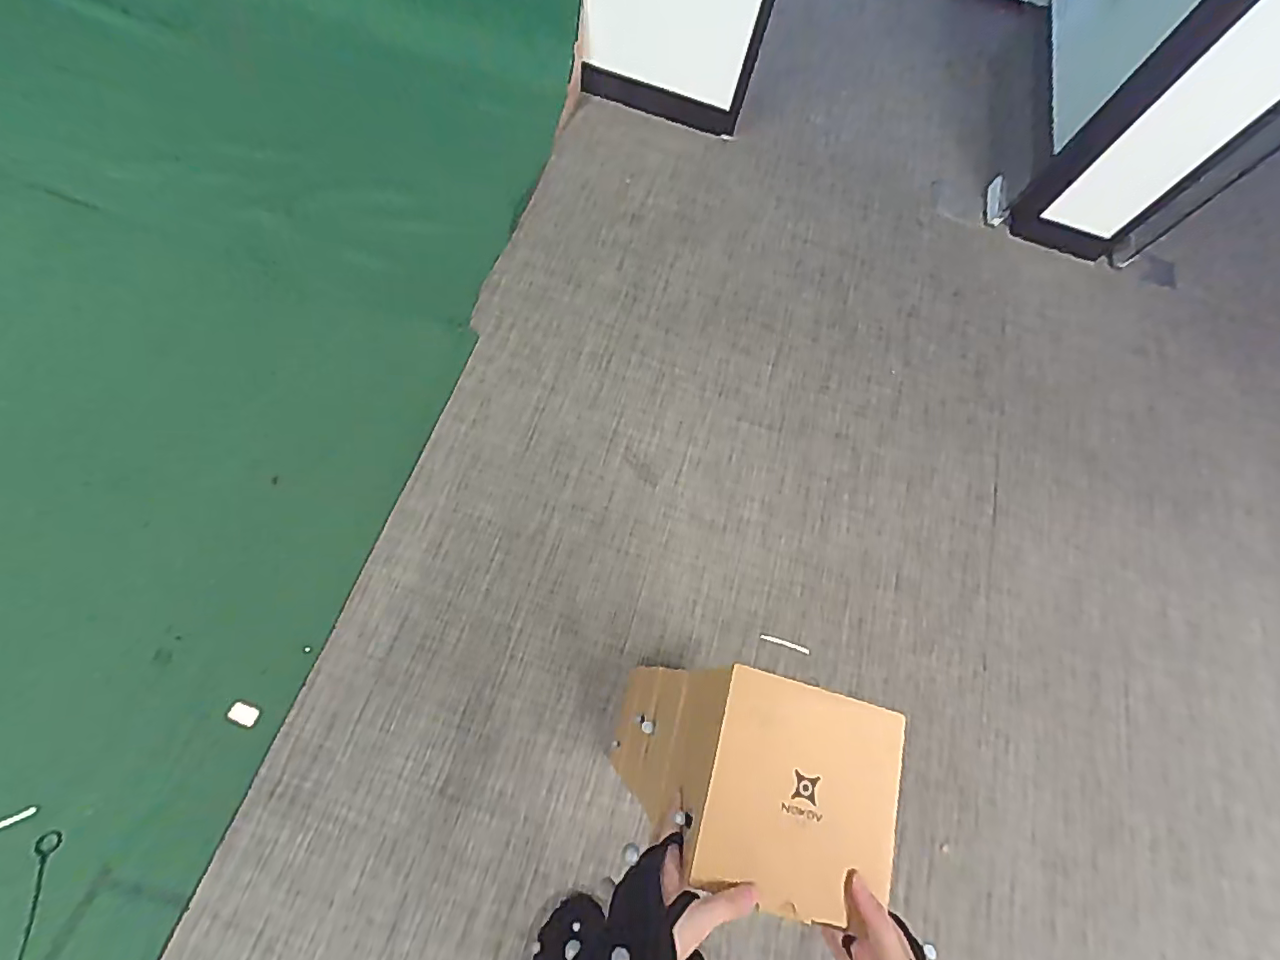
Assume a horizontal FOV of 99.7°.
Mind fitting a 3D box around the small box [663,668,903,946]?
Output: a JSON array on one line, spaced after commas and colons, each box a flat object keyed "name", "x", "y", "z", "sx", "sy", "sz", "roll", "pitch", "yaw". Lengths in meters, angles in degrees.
[{"name": "small box", "x": 0.128, "y": 0.296, "z": 0.533, "sx": 0.168, "sy": 0.176, "sz": 0.179, "roll": 17, "pitch": 70, "yaw": -1}]

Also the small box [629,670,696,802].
[{"name": "small box", "x": 0.083, "y": 0.404, "z": 0.838, "sx": 0.168, "sy": 0.176, "sz": 0.179, "roll": 14, "pitch": 69, "yaw": -2}]

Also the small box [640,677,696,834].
[{"name": "small box", "x": 0.109, "y": 0.353, "z": 0.684, "sx": 0.179, "sy": 0.176, "sz": 0.168, "roll": 16, "pitch": 69, "yaw": -1}]
